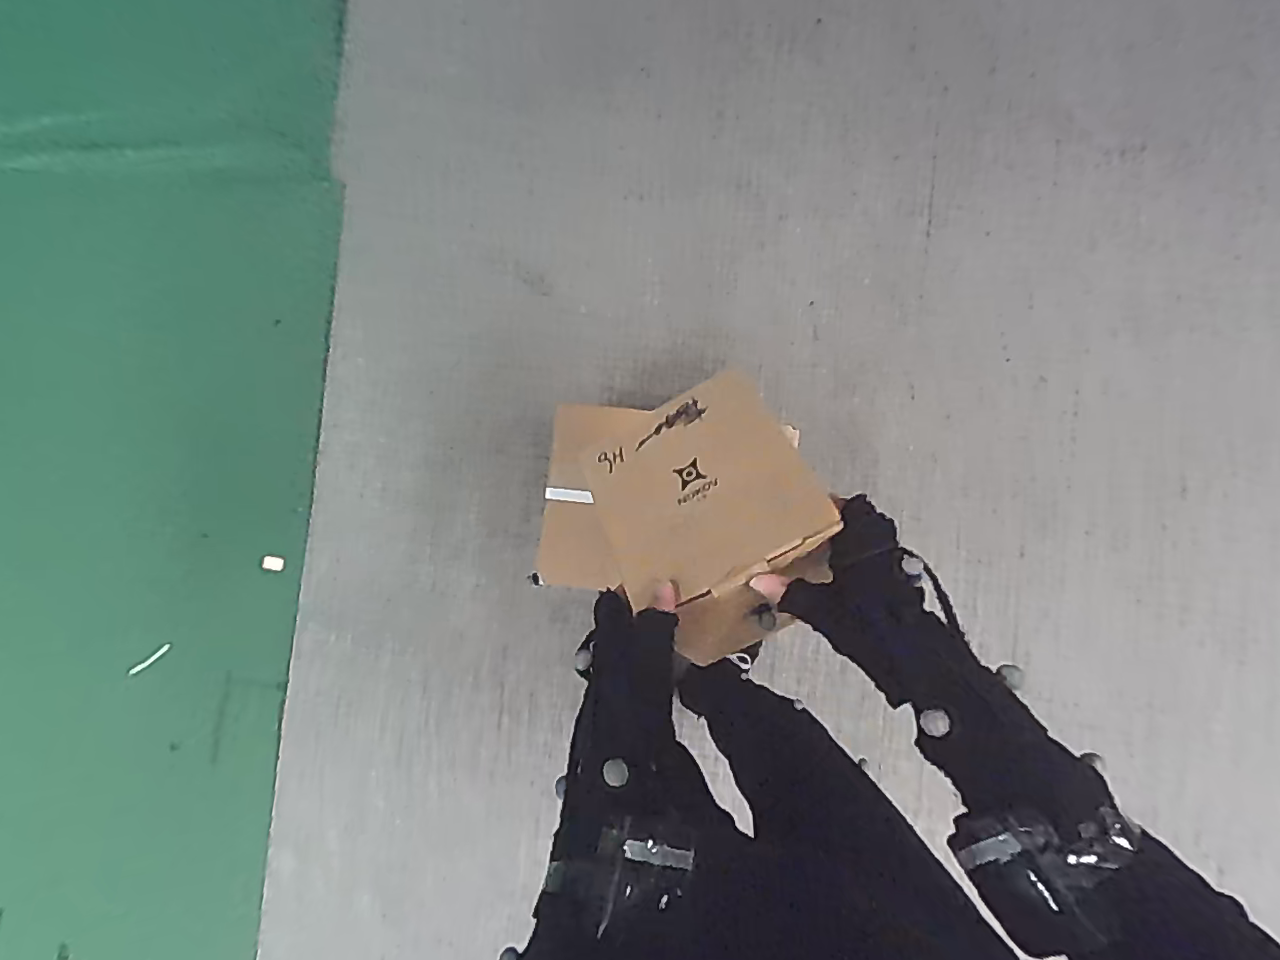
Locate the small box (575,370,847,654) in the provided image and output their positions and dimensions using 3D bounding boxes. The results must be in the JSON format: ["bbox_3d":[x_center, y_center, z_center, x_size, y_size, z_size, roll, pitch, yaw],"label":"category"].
[{"bbox_3d":[0.070,0.043,0.491,0.168,0.176,0.179,-29,56,8],"label":"small box"}]
